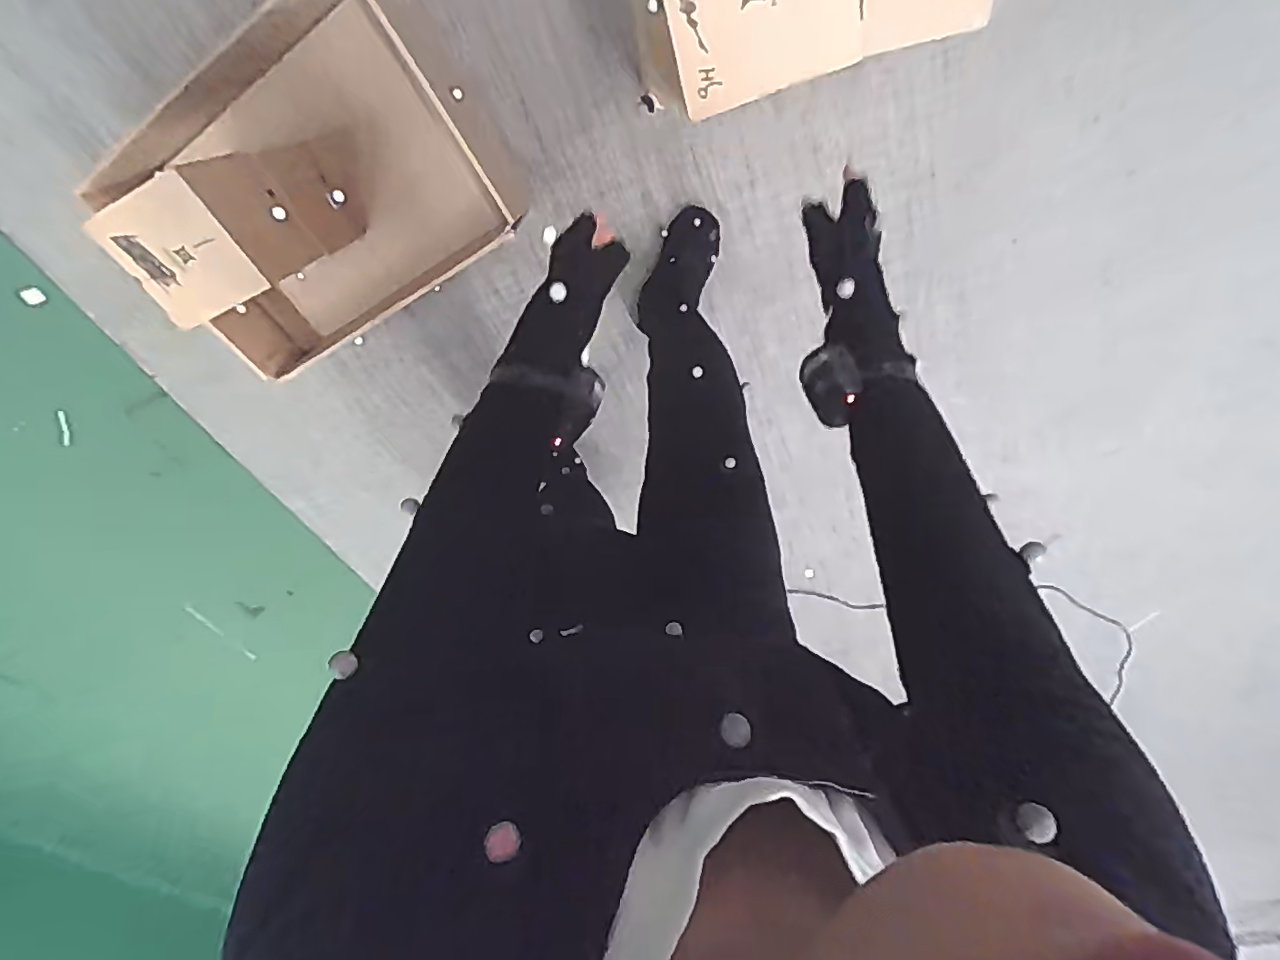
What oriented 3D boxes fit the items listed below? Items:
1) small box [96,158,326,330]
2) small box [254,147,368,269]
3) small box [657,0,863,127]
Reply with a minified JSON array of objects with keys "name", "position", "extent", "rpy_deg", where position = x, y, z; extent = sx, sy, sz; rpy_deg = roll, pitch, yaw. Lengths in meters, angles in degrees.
[{"name":"small box","position":[-0.627,-0.358,0.817],"extent":[0.179,0.176,0.168],"rpy_deg":[-19,125,13]},{"name":"small box","position":[-0.622,-0.457,0.948],"extent":[0.179,0.176,0.168],"rpy_deg":[-18,125,12]},{"name":"small box","position":[0.113,-0.494,0.557],"extent":[0.179,0.176,0.168],"rpy_deg":[-13,127,11]}]
